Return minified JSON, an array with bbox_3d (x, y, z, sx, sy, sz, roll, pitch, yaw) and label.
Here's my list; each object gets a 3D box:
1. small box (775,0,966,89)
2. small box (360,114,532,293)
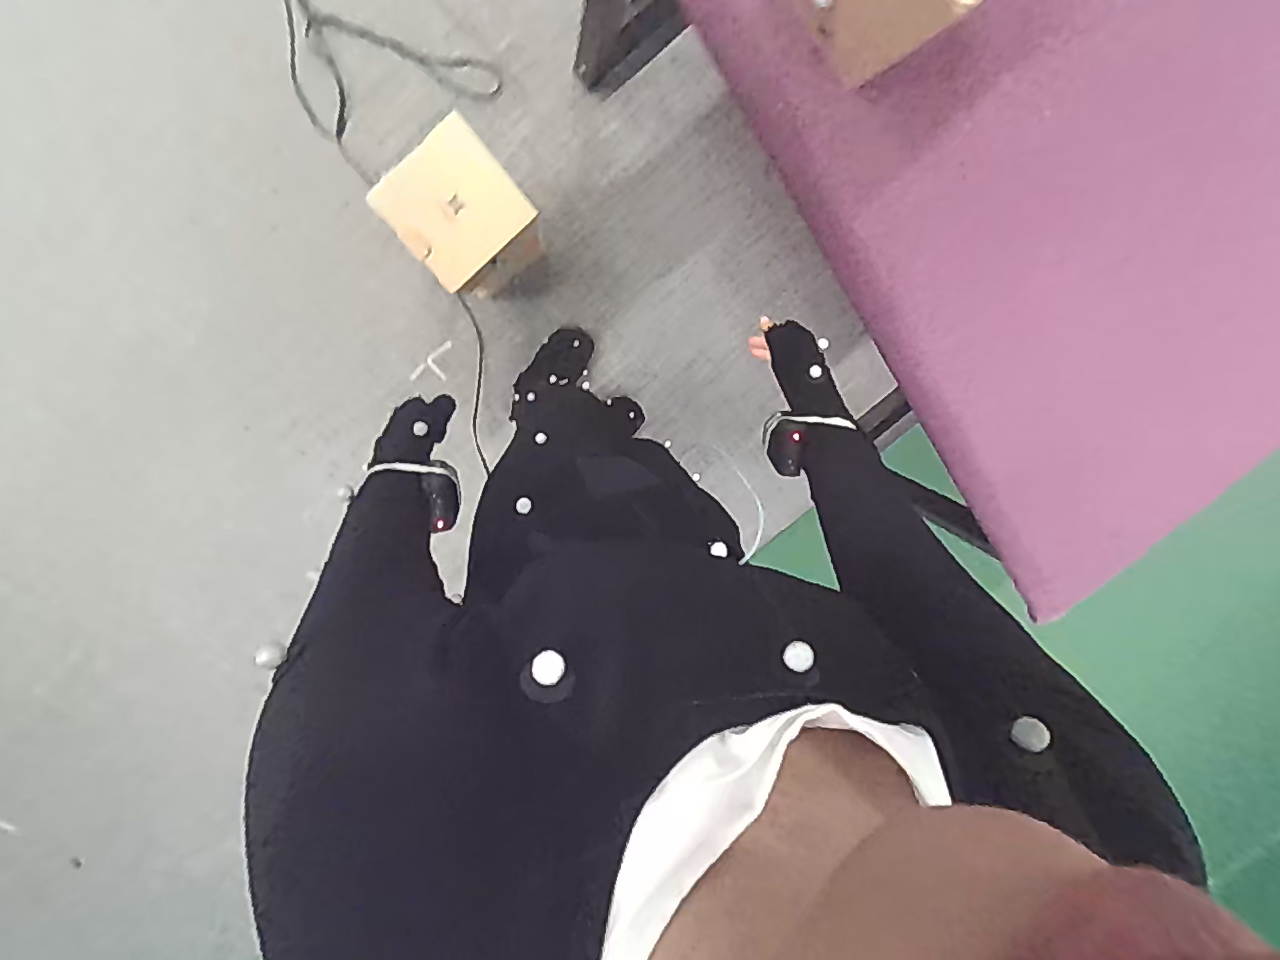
[{"bbox_3d":[0.236,-0.510,0.484,0.179,0.176,0.168,-46,111,4],"label":"small box"},{"bbox_3d":[-0.288,-0.415,0.841,0.179,0.176,0.168,-40,111,6],"label":"small box"}]
